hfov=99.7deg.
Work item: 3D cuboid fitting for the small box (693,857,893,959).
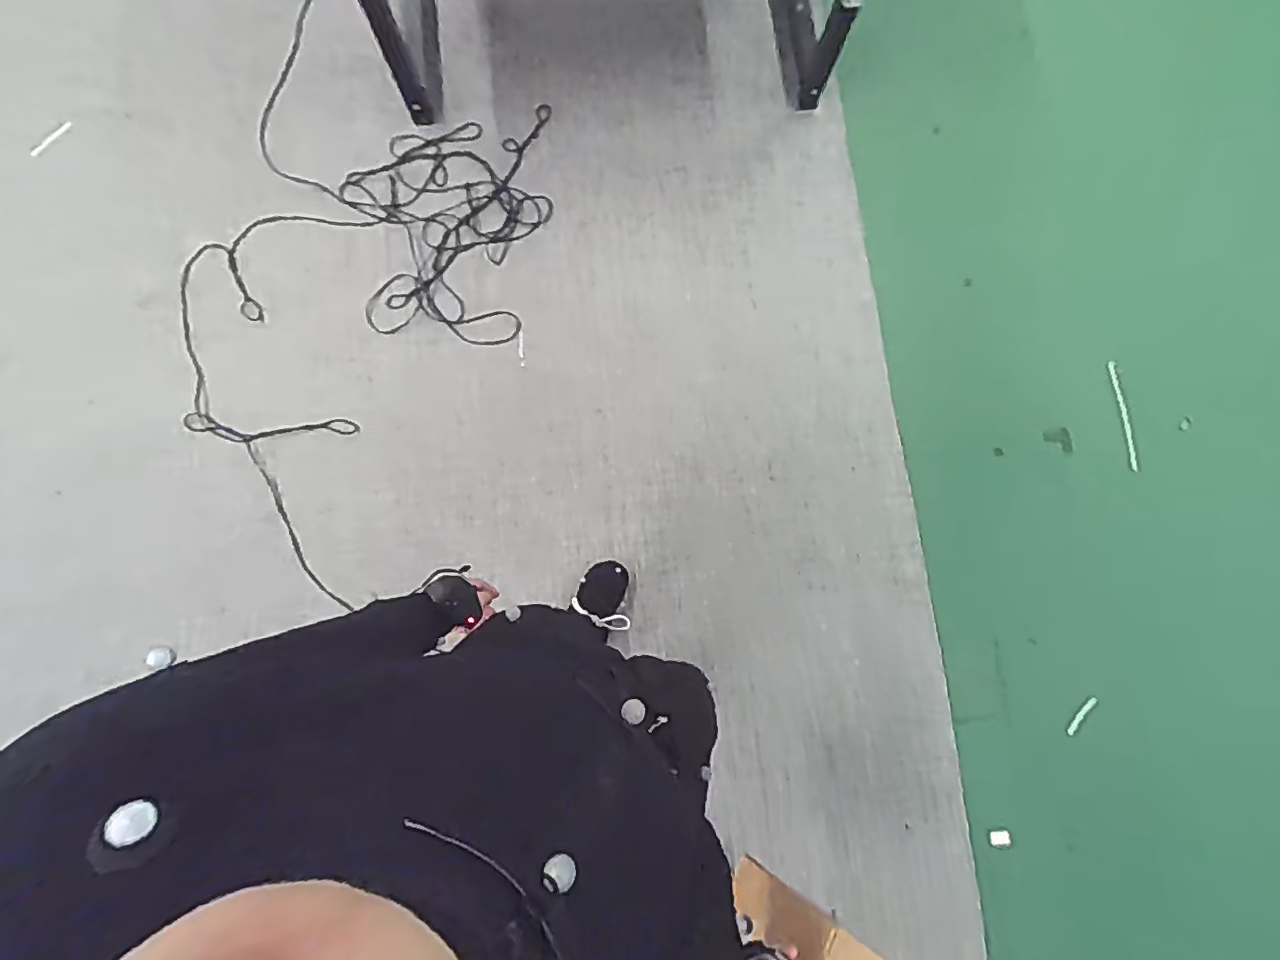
[{"bbox_3d":[0.205,0.640,0.705,0.179,0.176,0.168,44,66,-20],"label":"small box"}]
